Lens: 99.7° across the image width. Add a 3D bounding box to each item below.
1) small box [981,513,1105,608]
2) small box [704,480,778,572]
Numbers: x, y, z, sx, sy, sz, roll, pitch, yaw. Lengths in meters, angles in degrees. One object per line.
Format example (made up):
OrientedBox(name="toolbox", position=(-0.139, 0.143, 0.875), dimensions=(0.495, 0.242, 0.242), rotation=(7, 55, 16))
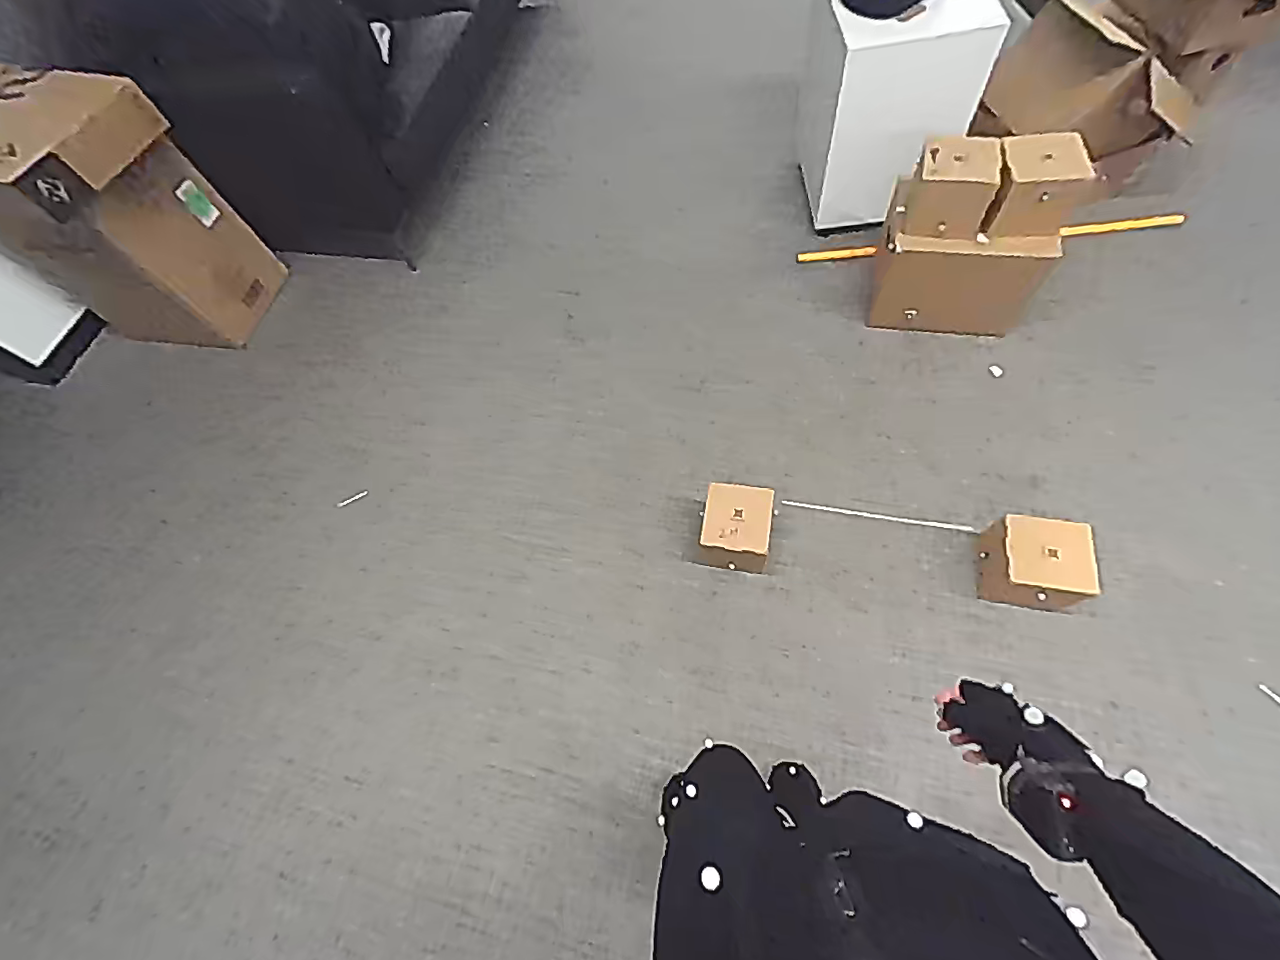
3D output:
OrientedBox(name="small box", position=(0.927, 0.192, 1.260), dimensions=(0.179, 0.176, 0.168), rotation=(7, 66, 13))
OrientedBox(name="small box", position=(0.259, 0.122, 1.399), dimensions=(0.168, 0.176, 0.179), rotation=(7, 66, 12))
